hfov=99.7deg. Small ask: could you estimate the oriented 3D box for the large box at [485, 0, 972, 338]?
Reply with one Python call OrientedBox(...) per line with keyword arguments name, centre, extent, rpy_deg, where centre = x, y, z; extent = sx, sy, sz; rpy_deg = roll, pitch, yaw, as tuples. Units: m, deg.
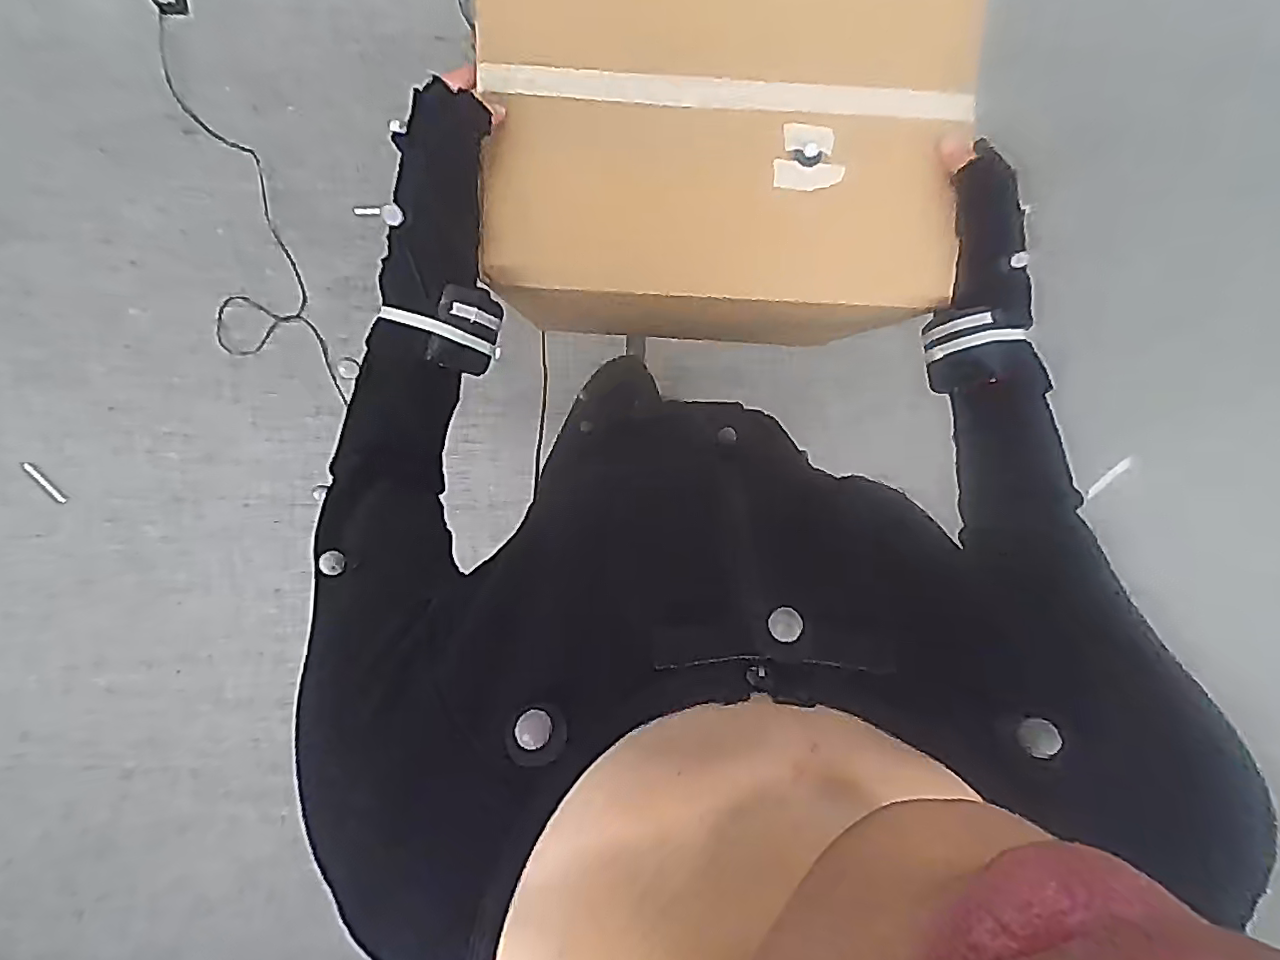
OrientedBox(name="large box", centre=(0.065, -0.339, 0.595), extent=(0.408, 0.320, 0.320), rpy_deg=(3, 98, -3))
